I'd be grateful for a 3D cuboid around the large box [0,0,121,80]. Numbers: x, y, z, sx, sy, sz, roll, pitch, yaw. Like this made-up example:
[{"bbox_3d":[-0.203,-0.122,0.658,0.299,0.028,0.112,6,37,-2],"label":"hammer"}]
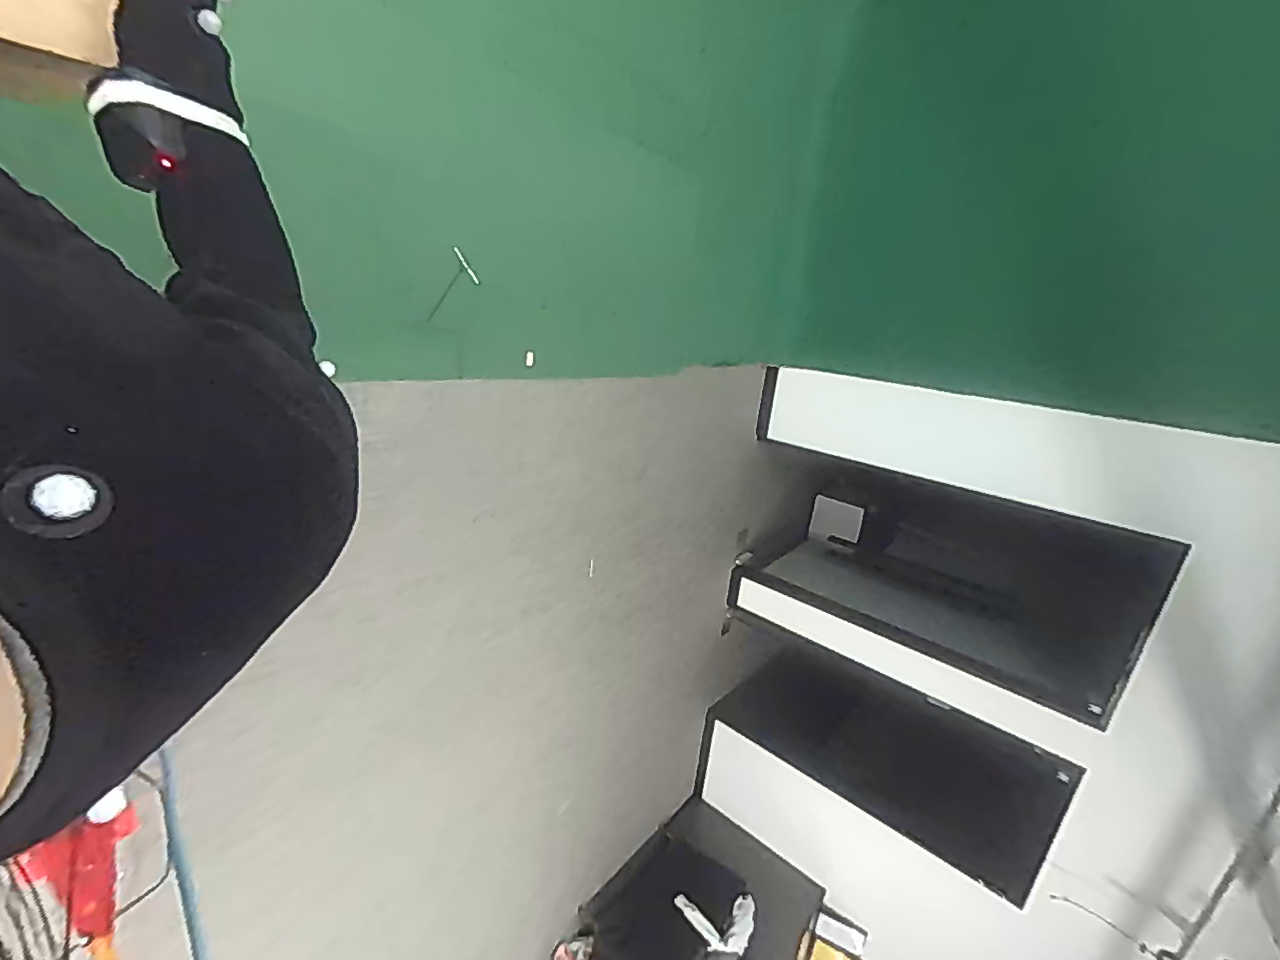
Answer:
[{"bbox_3d":[-0.623,-0.475,0.298,0.408,0.320,0.320,-19,123,-52],"label":"large box"}]
